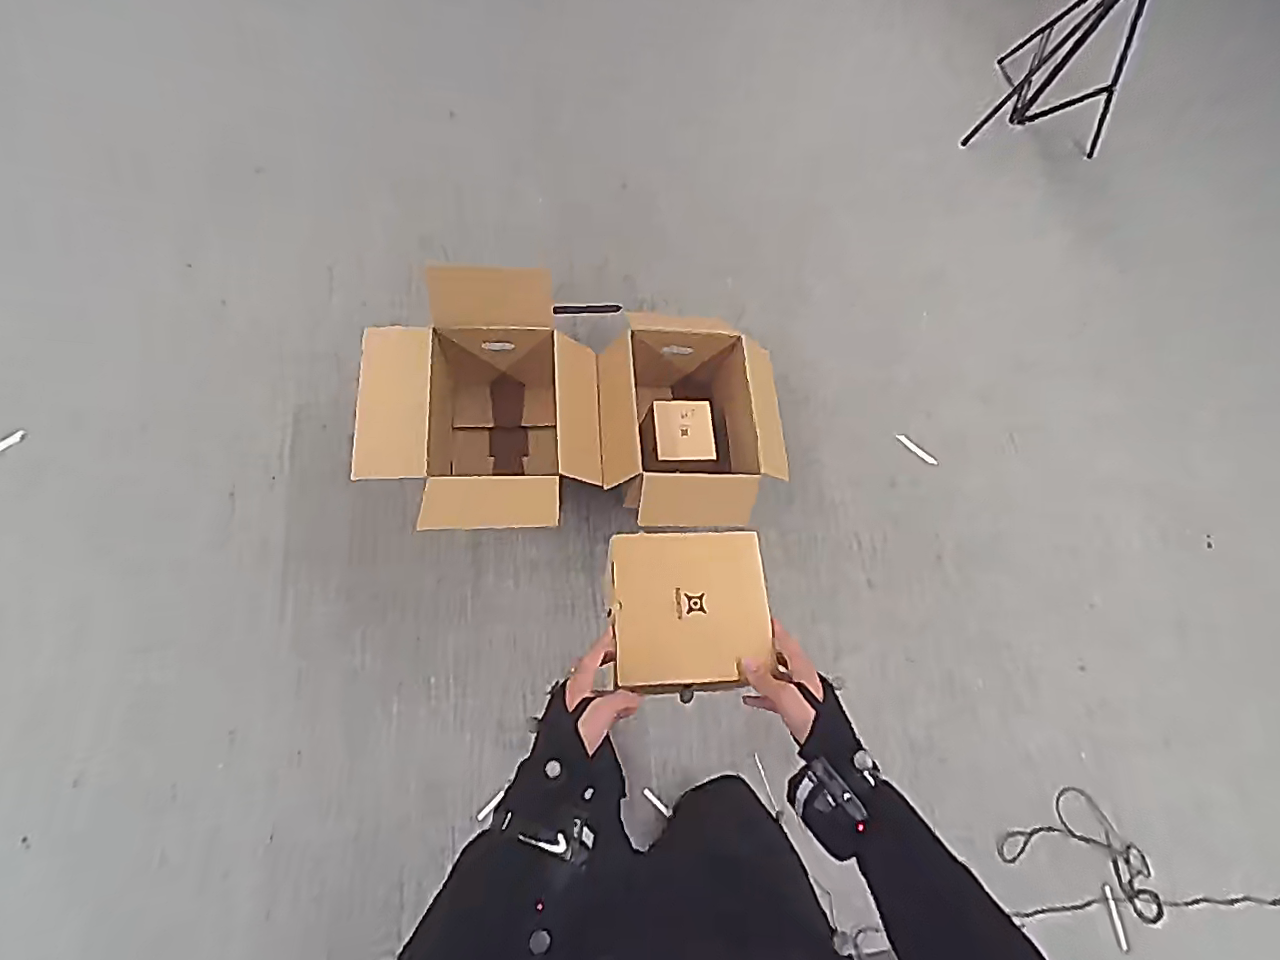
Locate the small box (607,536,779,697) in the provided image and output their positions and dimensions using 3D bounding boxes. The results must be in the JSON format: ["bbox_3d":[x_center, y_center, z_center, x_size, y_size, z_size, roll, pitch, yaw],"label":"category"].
[{"bbox_3d":[0.051,0.172,0.662,0.179,0.176,0.168,-2,66,-5],"label":"small box"}]
